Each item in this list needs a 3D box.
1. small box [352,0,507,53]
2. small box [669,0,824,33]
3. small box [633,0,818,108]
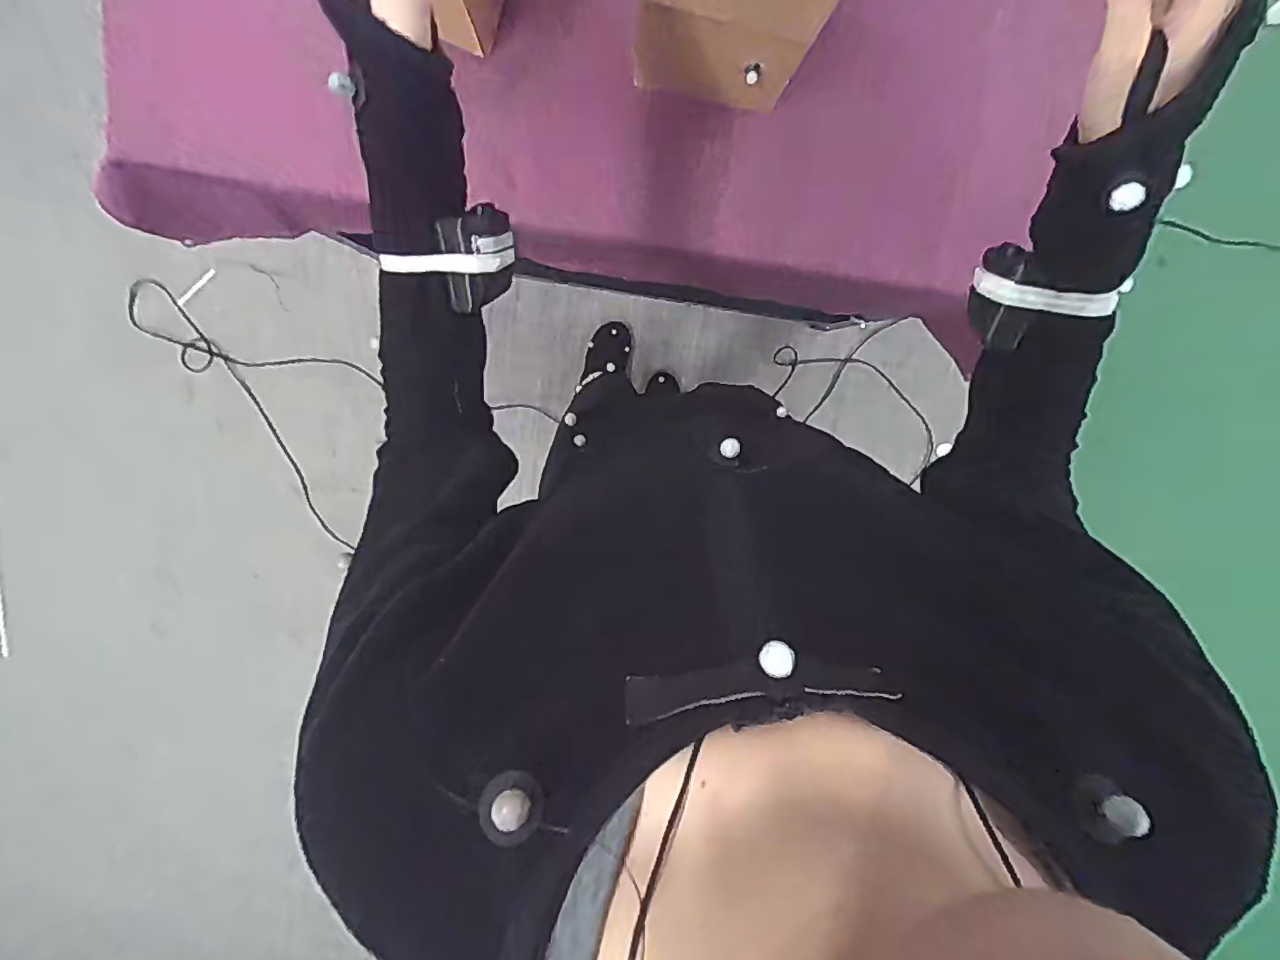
[{"bbox_3d":[-0.234,-0.597,0.558,0.179,0.176,0.168,18,99,-7],"label":"small box"},{"bbox_3d":[0.098,-0.504,0.425,0.179,0.176,0.168,11,99,-4],"label":"small box"},{"bbox_3d":[0.093,-0.540,0.585,0.179,0.176,0.168,9,99,-4],"label":"small box"}]
